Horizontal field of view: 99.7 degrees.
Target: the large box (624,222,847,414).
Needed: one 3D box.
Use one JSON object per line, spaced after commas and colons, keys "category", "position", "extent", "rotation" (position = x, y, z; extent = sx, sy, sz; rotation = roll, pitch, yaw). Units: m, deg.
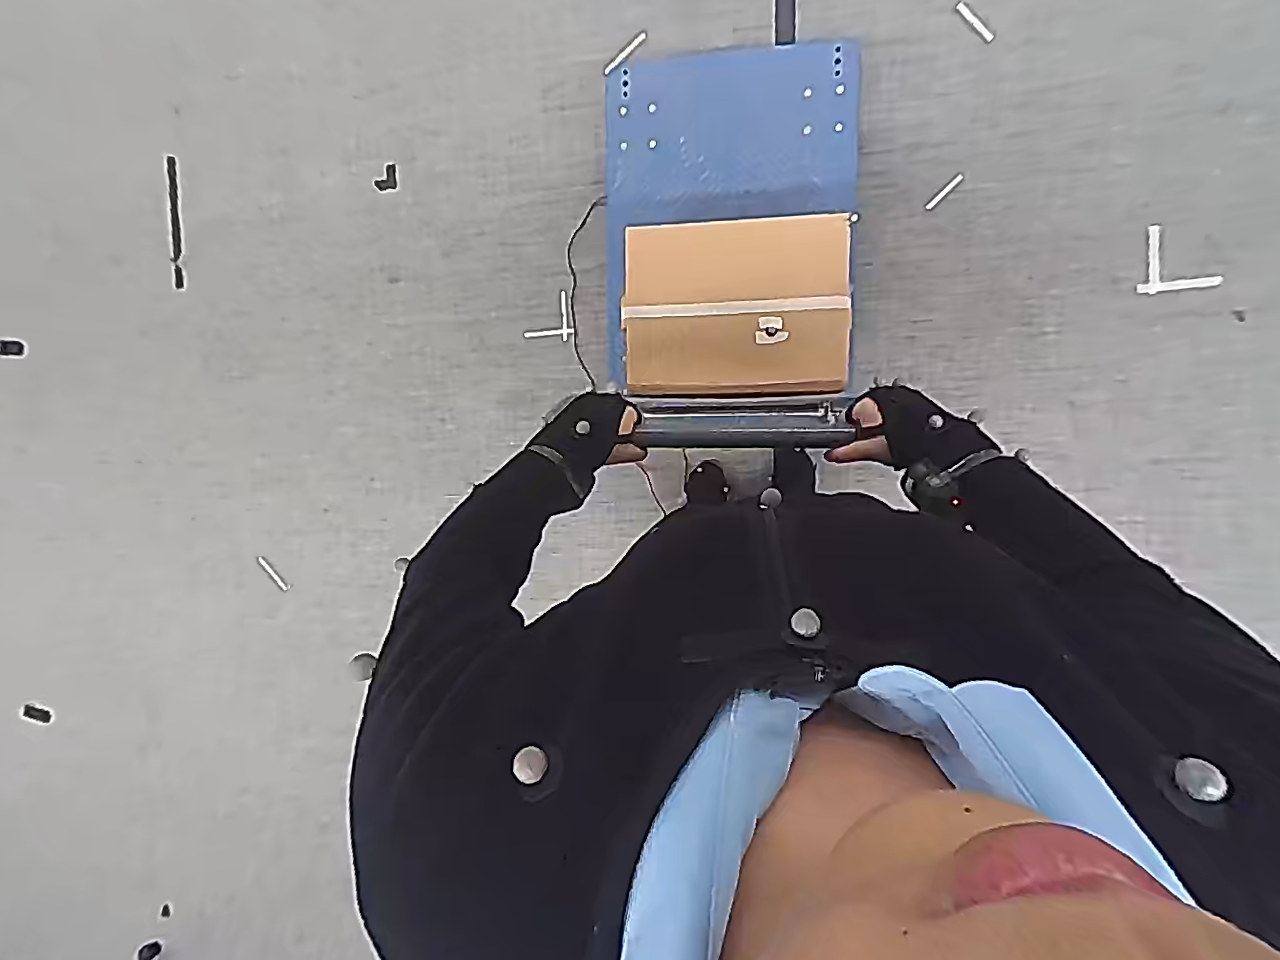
{"category": "large box", "position": [0.190, -0.309, 1.136], "extent": [0.408, 0.320, 0.320], "rotation": [0, 95, 8]}
